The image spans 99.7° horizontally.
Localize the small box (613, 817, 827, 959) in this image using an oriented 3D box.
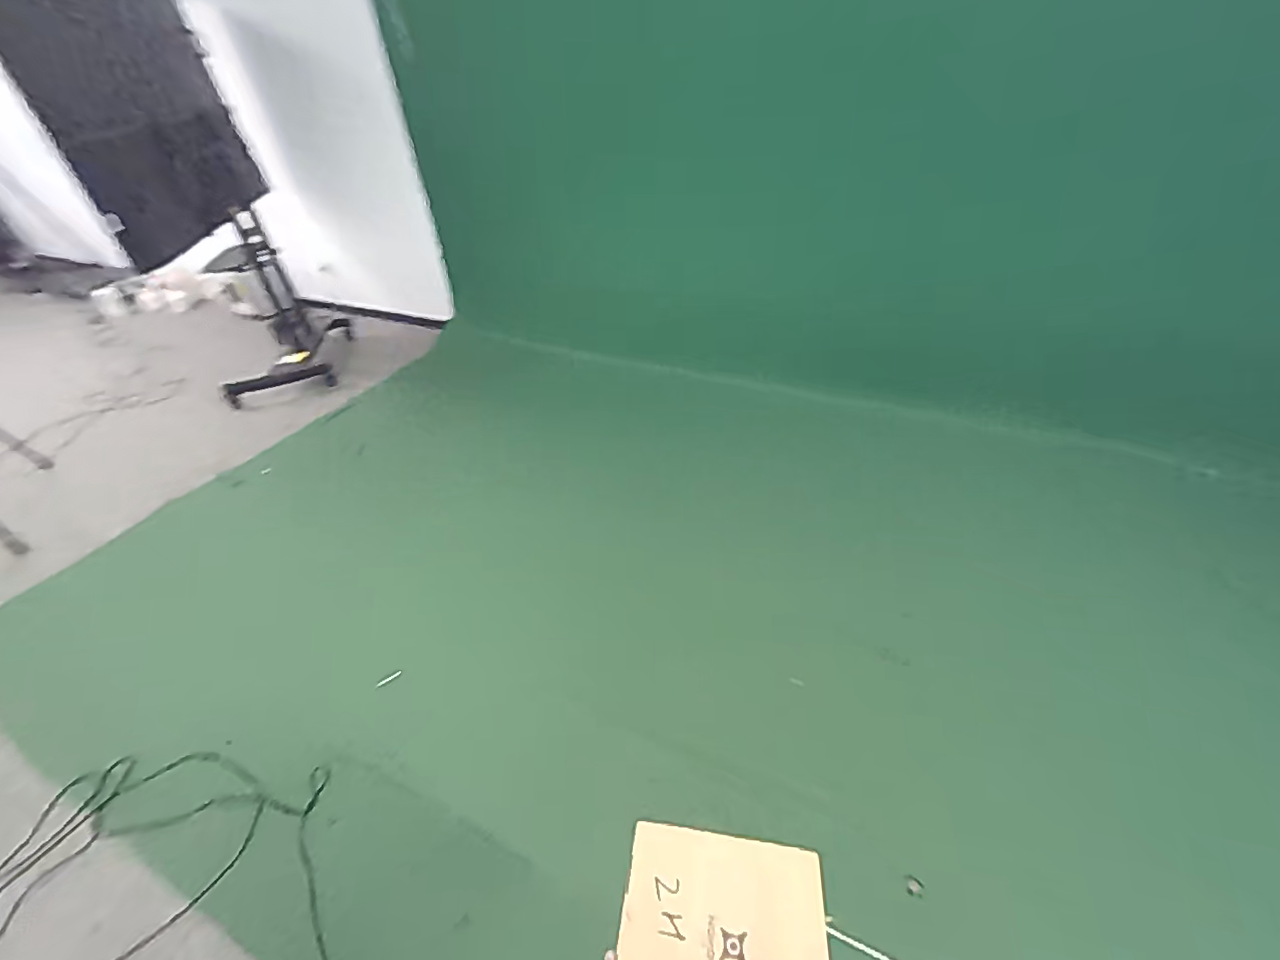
[{"bbox_3d":[0.065,0.448,0.494,0.179,0.176,0.168,6,34,7],"label":"small box"}]
